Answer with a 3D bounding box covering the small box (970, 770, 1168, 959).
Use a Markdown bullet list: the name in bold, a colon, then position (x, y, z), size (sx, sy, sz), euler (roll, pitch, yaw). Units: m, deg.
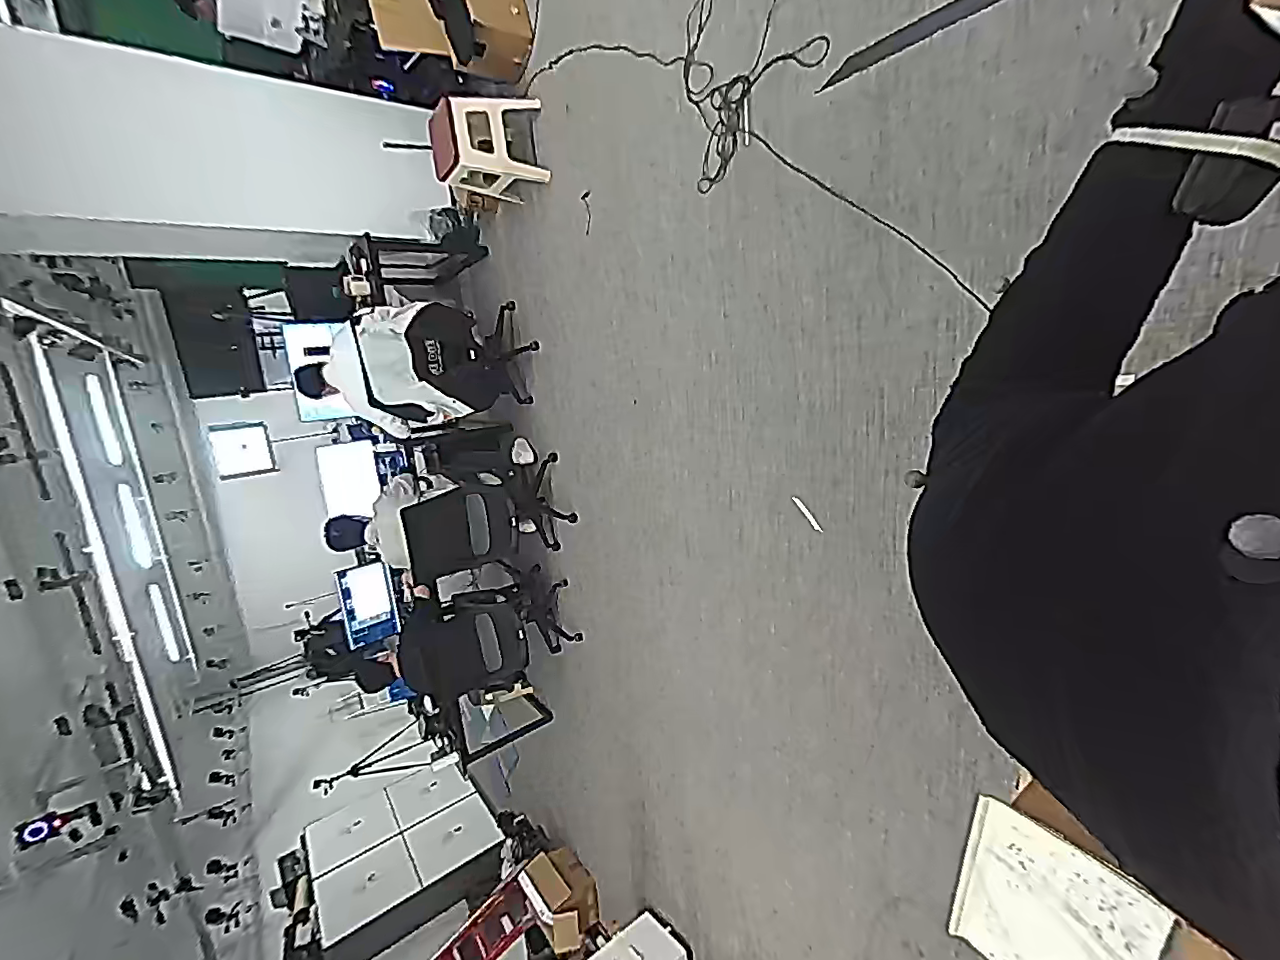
- **small box**: position (0.613, 0.569, 0.777), size (0.168, 0.176, 0.179), euler (23, 118, 51)
